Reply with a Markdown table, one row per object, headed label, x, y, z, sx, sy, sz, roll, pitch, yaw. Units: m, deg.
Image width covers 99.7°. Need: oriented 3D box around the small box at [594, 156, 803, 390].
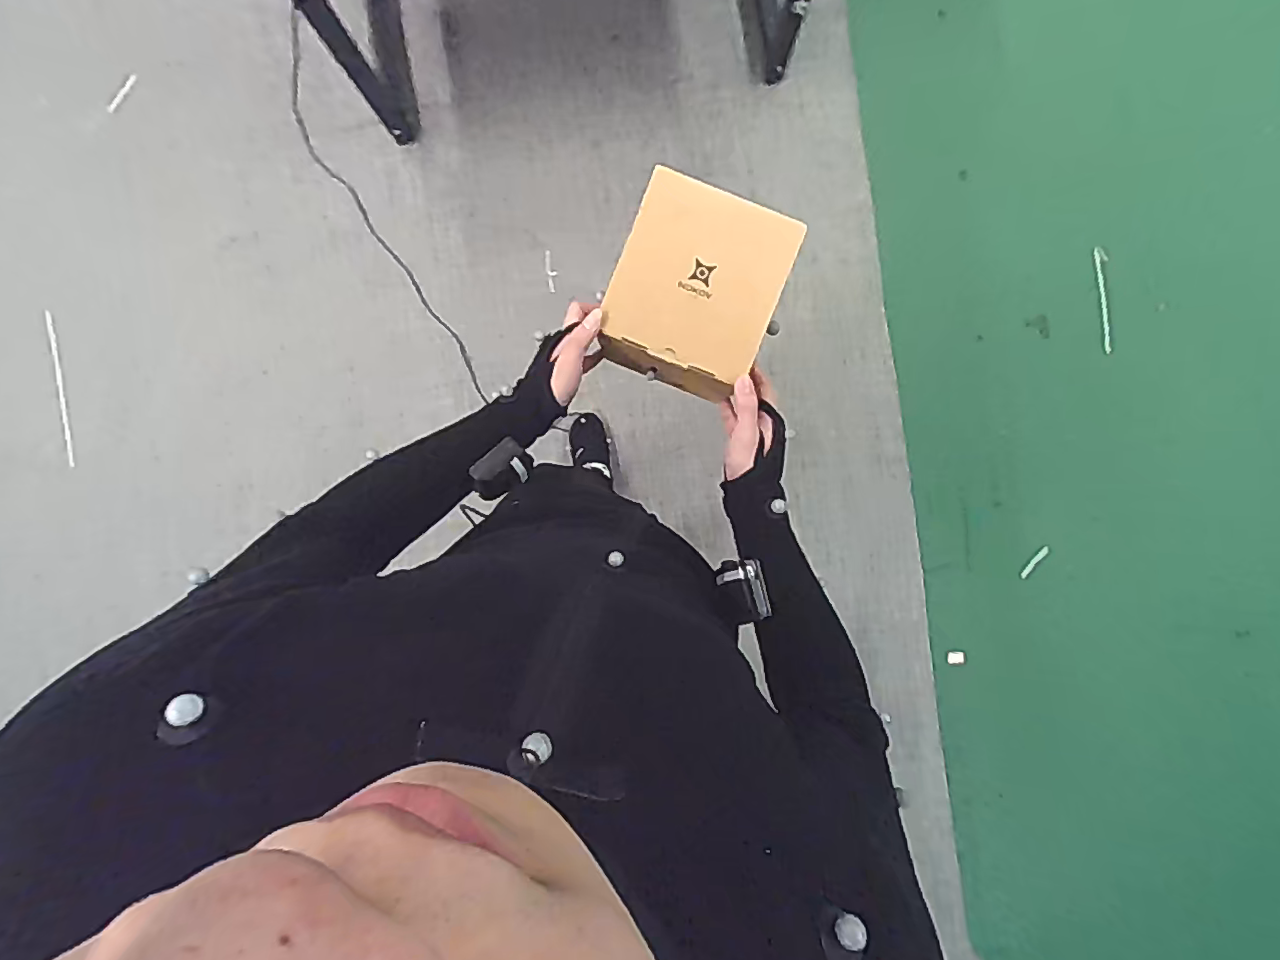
| label | x | y | z | sx | sy | sz | roll | pitch | yaw |
| --- | --- | --- | --- | --- | --- | --- | --- | --- | --- |
| small box | 0.056 | -0.217 | 0.619 | 0.168 | 0.176 | 0.179 | 21 | 94 | -1 |
